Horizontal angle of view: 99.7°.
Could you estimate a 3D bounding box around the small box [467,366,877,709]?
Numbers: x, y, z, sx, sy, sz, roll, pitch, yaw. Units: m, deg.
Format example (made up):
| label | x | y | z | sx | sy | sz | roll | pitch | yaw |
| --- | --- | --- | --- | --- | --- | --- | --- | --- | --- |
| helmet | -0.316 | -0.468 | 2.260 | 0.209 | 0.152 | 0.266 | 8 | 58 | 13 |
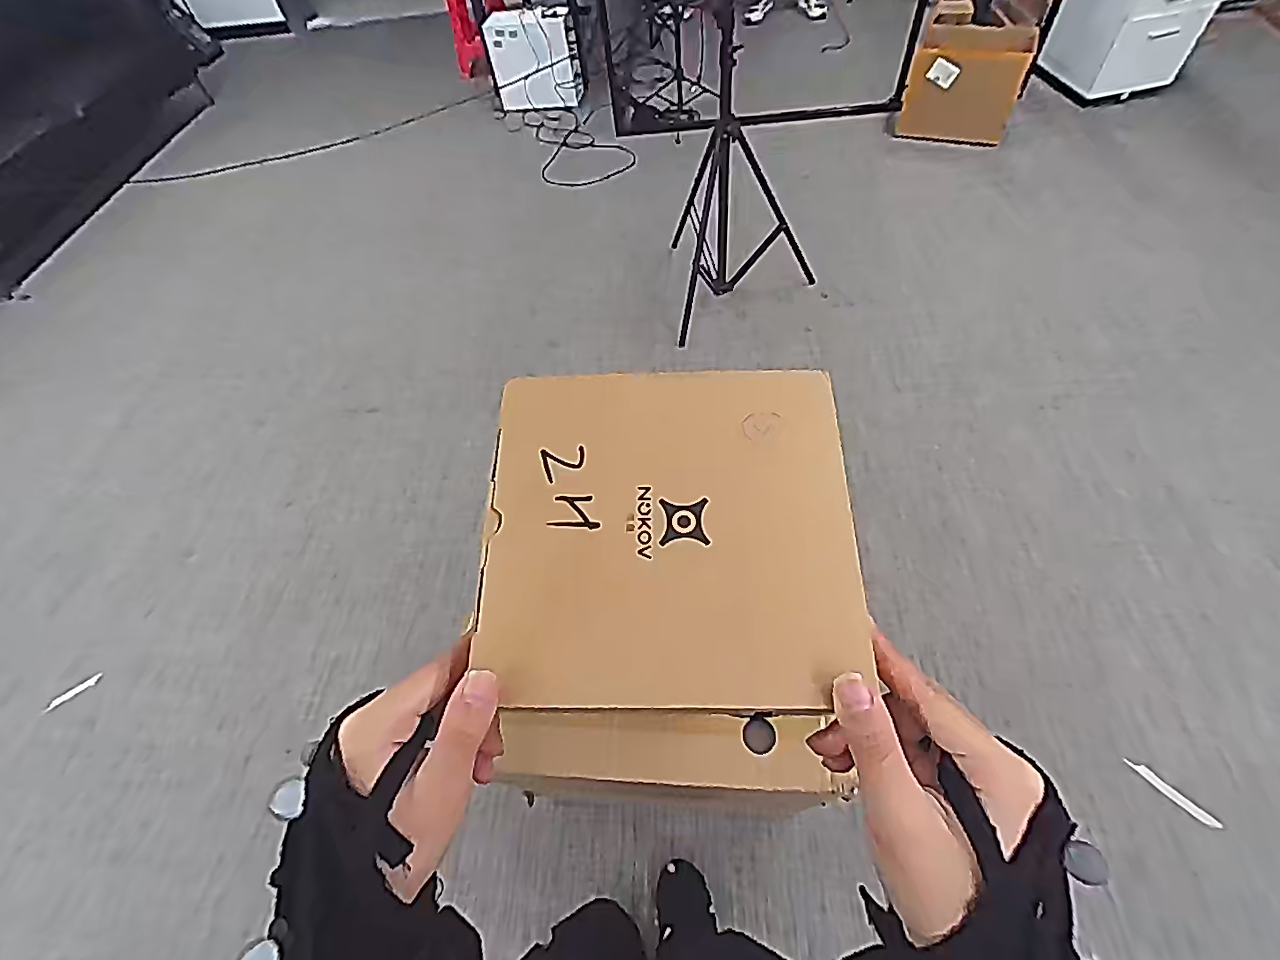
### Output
| label | x | y | z | sx | sy | sz | roll | pitch | yaw |
| --- | --- | --- | --- | --- | --- | --- | --- | --- | --- |
| small box | 0.017 | 0.047 | 0.331 | 0.179 | 0.176 | 0.168 | -1 | 66 | 4 |
